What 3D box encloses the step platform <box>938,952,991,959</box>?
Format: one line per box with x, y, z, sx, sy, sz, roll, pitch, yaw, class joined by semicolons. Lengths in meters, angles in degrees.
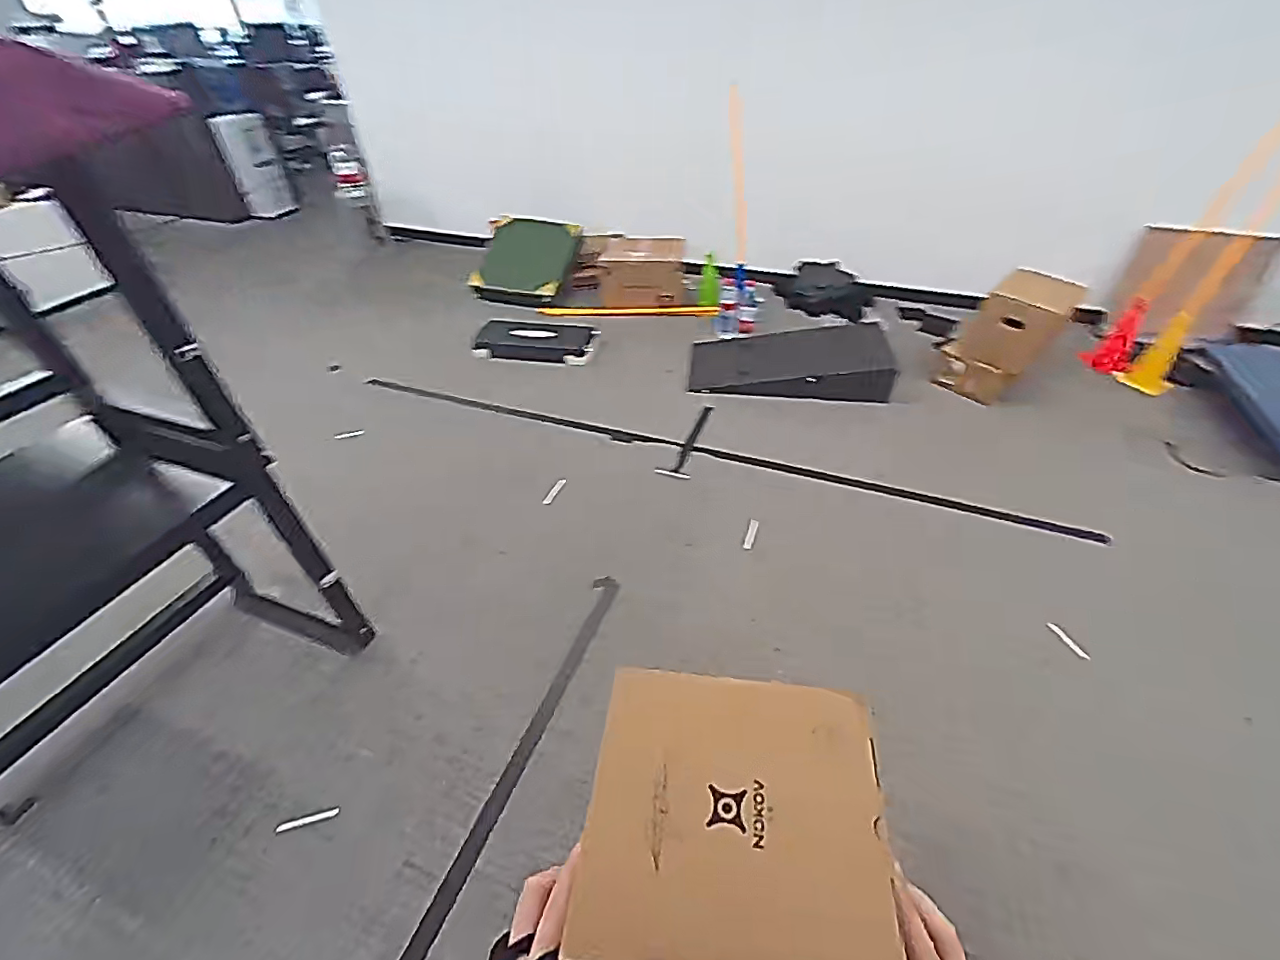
0.558;1.149;0.793;0.286;0.204;0.684;18;44;22;step platform
